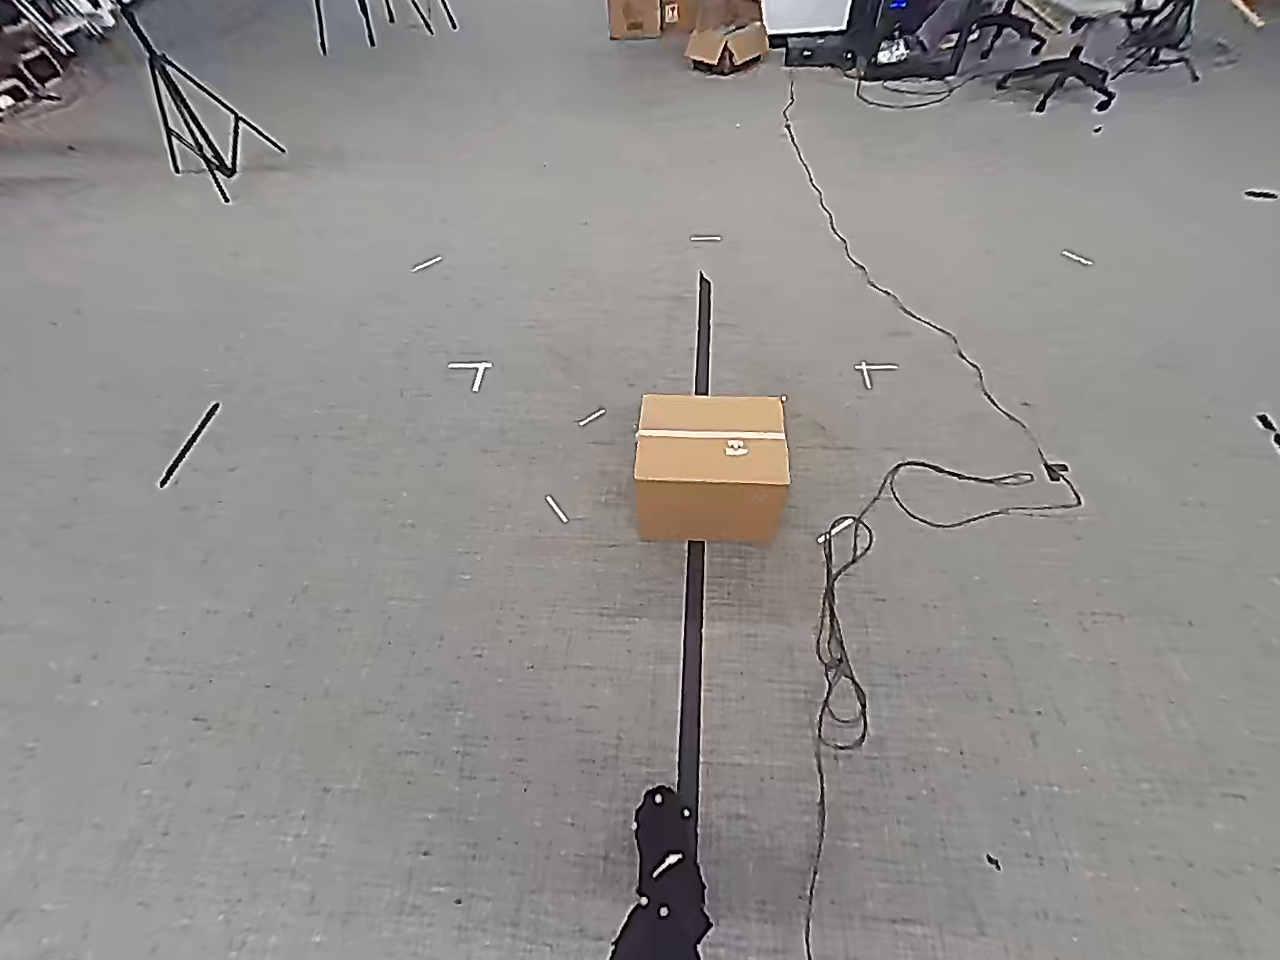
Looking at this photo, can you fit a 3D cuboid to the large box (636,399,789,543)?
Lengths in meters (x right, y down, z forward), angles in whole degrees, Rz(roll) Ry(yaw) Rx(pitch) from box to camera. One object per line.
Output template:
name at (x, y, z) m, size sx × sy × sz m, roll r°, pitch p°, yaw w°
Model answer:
large box at (0.200, -0.022, 1.607) m, size 0.408 × 0.320 × 0.320 m, roll 2°, pitch 54°, yaw 5°
